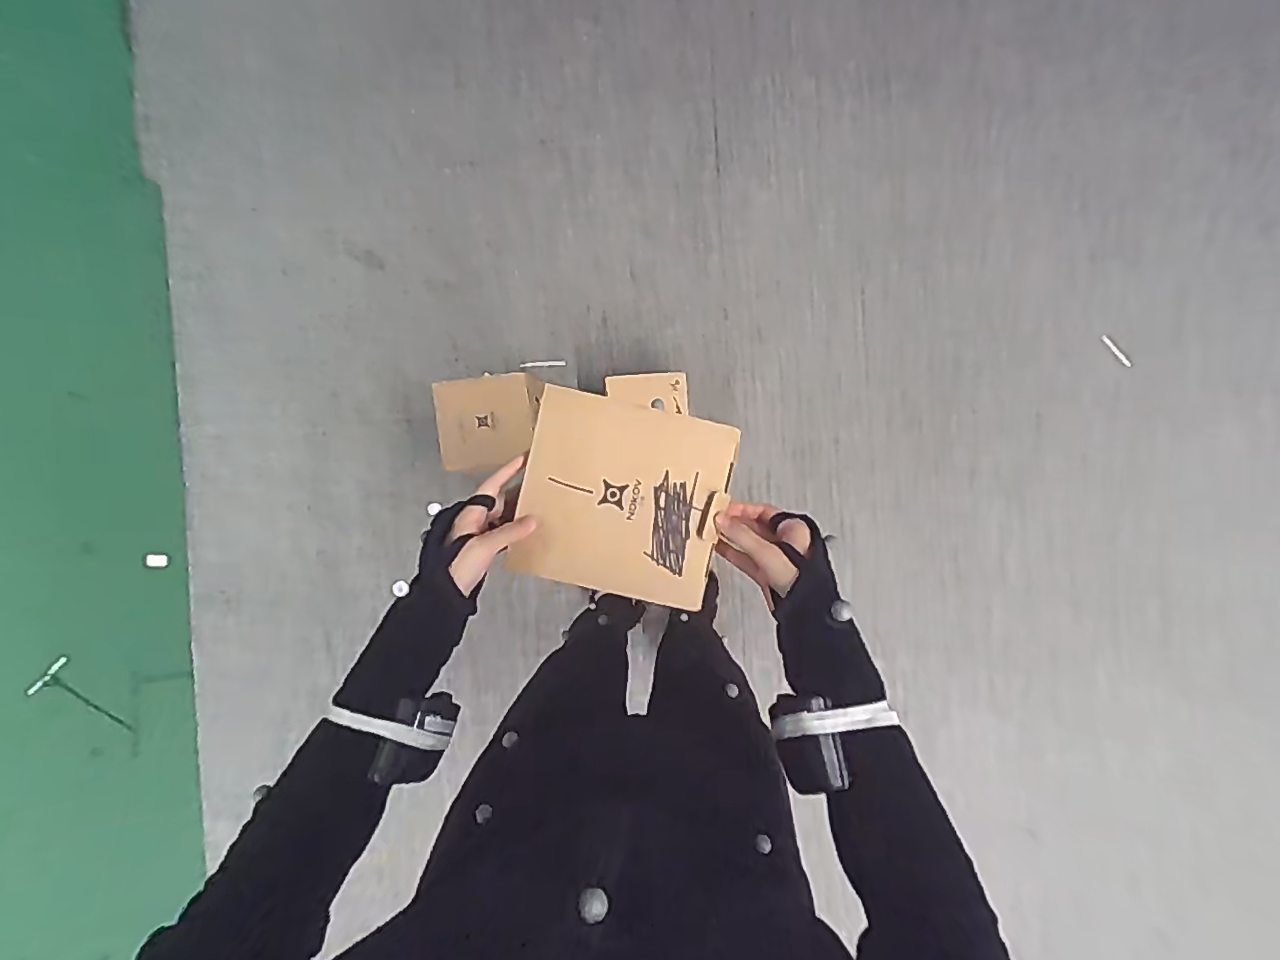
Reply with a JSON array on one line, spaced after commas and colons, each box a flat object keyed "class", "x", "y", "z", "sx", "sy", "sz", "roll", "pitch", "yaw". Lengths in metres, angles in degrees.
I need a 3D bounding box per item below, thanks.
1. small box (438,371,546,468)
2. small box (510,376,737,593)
[{"class": "small box", "x": -0.280, "y": -0.115, "z": 1.081, "sx": 0.179, "sy": 0.176, "sz": 0.168, "roll": -7, "pitch": 91, "yaw": 1}, {"class": "small box", "x": -0.014, "y": 0.004, "z": 0.562, "sx": 0.179, "sy": 0.176, "sz": 0.168, "roll": 13, "pitch": 89, "yaw": 0}]
